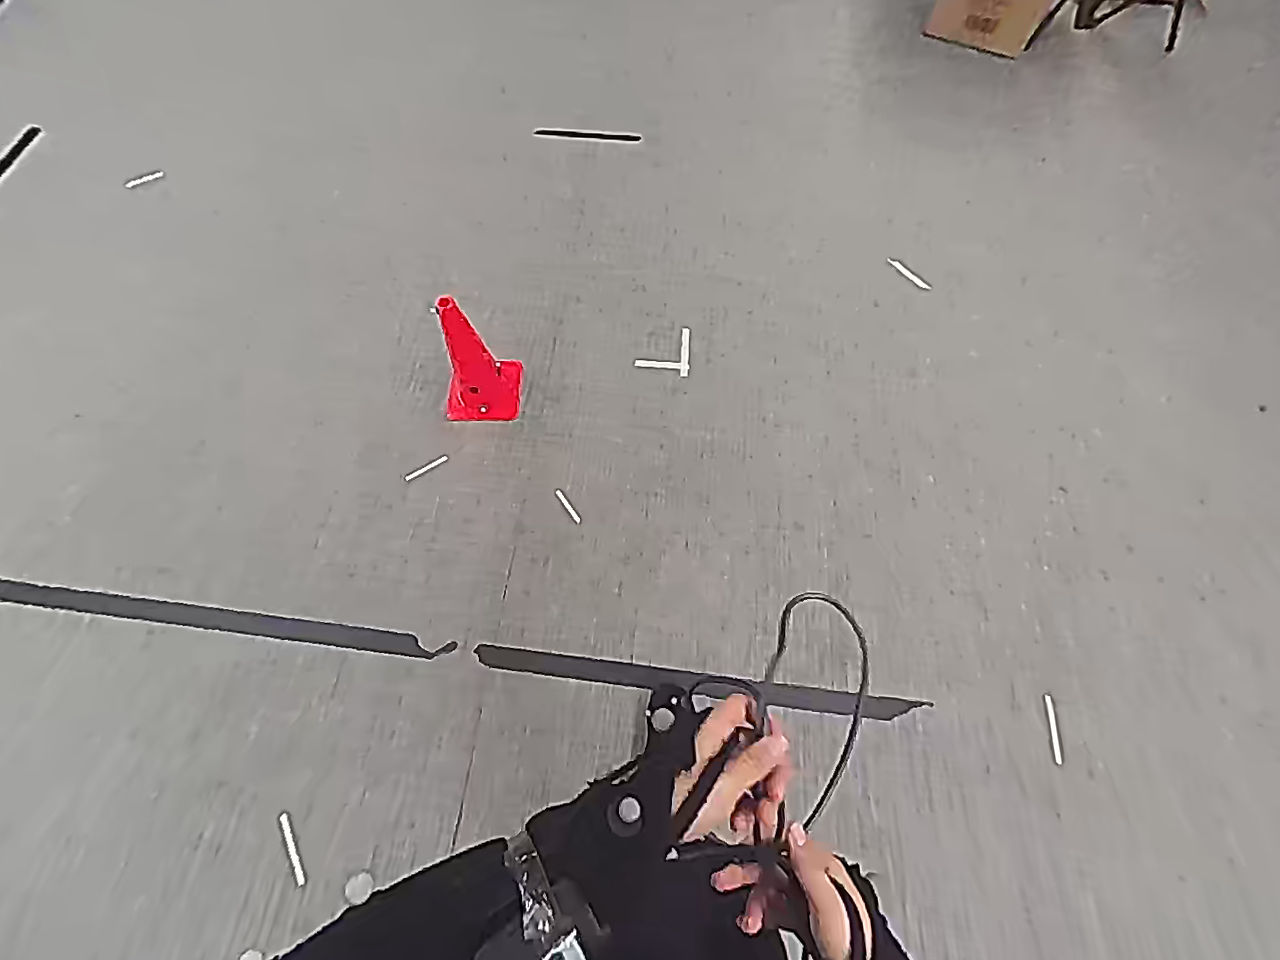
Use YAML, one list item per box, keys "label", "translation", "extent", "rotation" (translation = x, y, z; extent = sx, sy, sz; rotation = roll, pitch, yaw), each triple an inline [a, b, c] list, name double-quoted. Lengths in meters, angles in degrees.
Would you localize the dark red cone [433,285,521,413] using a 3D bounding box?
- label: "dark red cone"
  translation: [-0.436, -0.336, 1.351]
  extent: [0.202, 0.394, 0.201]
  rotation: [-1, 67, -1]
